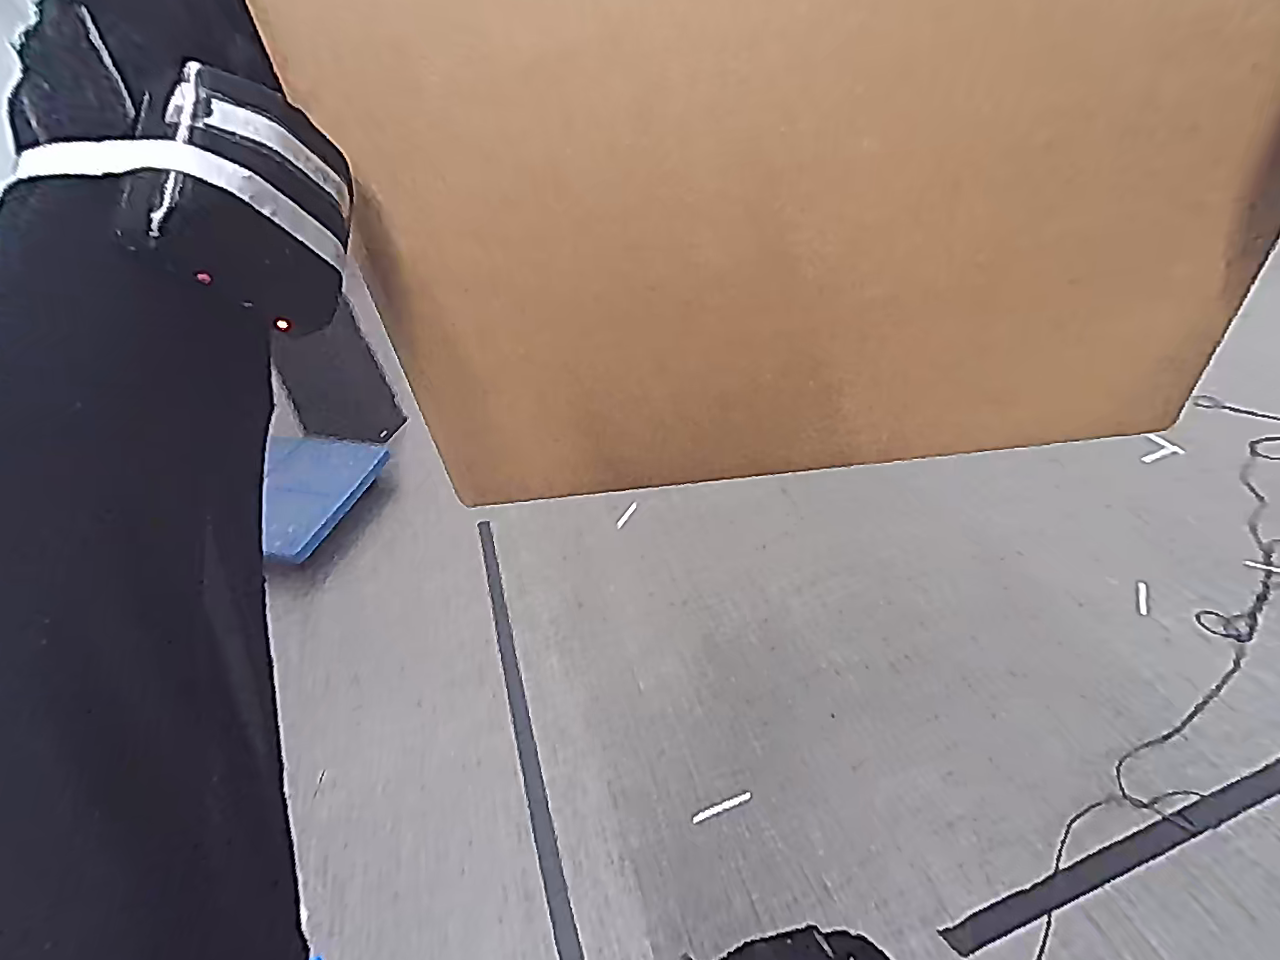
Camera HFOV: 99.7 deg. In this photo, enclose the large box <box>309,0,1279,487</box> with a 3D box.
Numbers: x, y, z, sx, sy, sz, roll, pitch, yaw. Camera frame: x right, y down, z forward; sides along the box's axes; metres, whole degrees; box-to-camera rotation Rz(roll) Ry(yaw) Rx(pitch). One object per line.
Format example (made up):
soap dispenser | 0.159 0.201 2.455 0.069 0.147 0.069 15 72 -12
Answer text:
large box | 0.076 -0.221 0.350 0.408 0.320 0.320 -6 38 2
